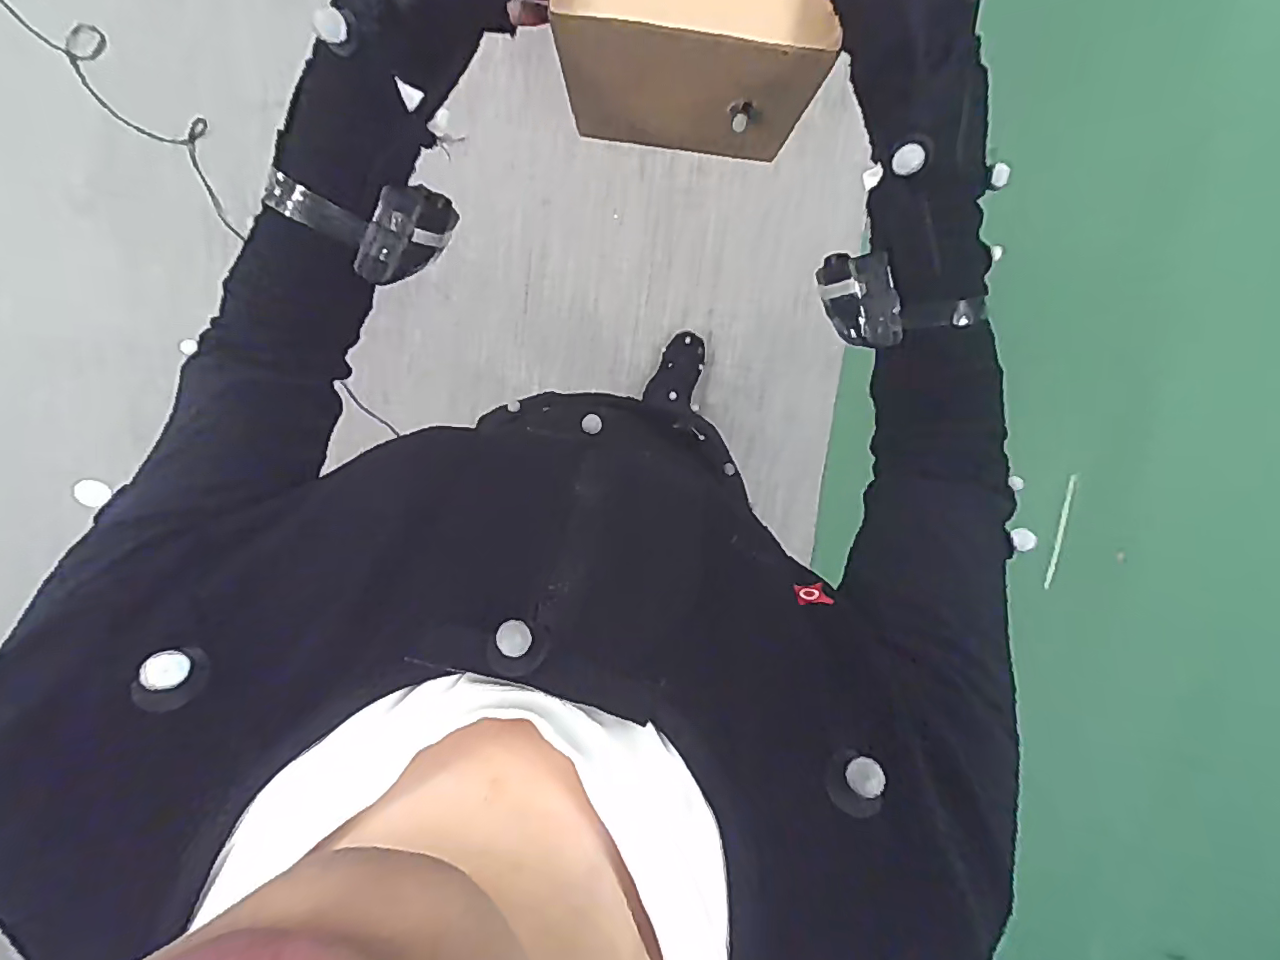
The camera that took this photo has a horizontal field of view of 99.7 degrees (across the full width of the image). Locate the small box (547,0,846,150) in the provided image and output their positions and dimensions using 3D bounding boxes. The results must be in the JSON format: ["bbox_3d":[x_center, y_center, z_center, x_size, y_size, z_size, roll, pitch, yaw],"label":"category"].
[{"bbox_3d":[0.042,-0.359,0.381,0.179,0.176,0.168,7,99,0],"label":"small box"}]
